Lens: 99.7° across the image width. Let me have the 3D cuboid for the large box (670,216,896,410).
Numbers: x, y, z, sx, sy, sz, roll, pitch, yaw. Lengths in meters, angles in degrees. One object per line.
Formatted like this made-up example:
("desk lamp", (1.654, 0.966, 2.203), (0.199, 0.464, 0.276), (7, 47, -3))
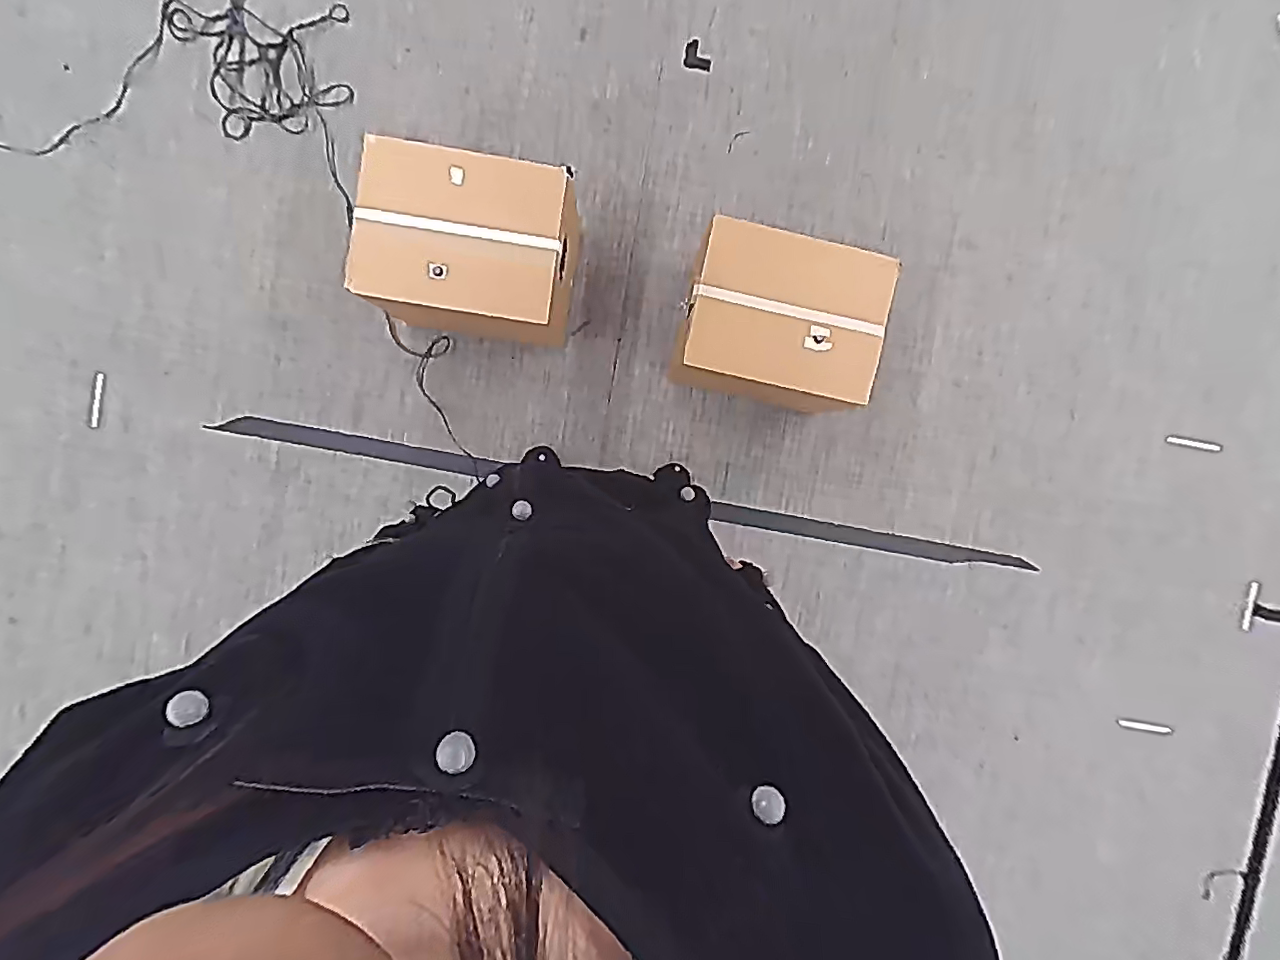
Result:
("large box", (0.307, -0.364, 1.277), (0.408, 0.320, 0.320), (12, 93, -4))
